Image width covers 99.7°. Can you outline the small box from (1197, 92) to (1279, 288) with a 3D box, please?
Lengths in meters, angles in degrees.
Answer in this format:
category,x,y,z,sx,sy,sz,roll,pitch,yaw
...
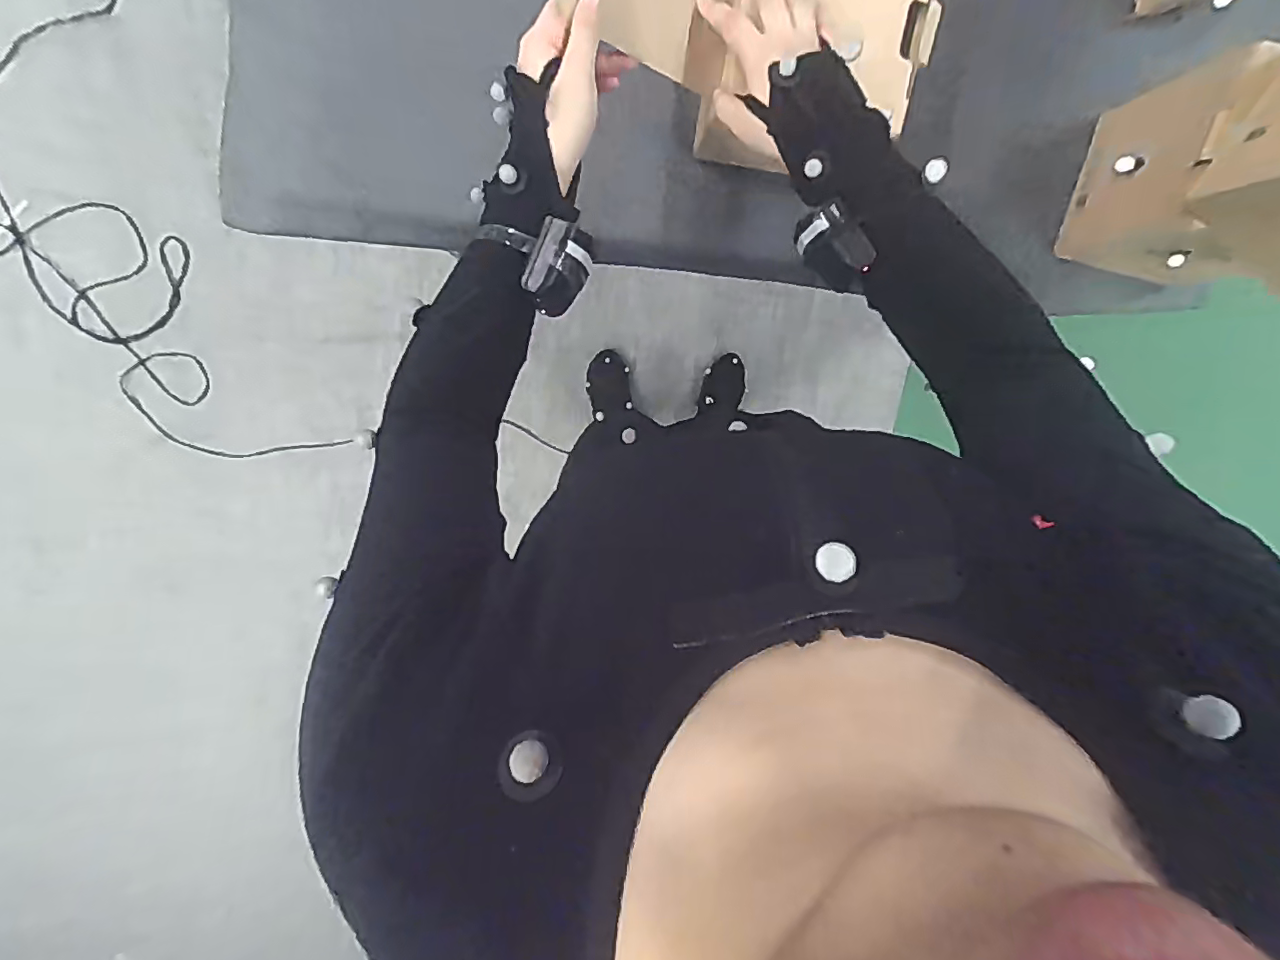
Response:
category,x,y,z,sx,sy,sz,roll,pitch,yaw
small box,0.640,-0.269,0.442,0.179,0.176,0.168,32,99,-11

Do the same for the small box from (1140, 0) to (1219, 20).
category,x,y,z,sx,sy,sz,roll,pitch,yaw
small box,0.631,-0.604,0.520,0.168,0.176,0.179,-15,107,4

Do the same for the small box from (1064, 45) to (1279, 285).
category,x,y,z,sx,sy,sz,roll,pitch,yaw
small box,0.630,-0.323,0.596,0.179,0.176,0.168,11,102,-5
